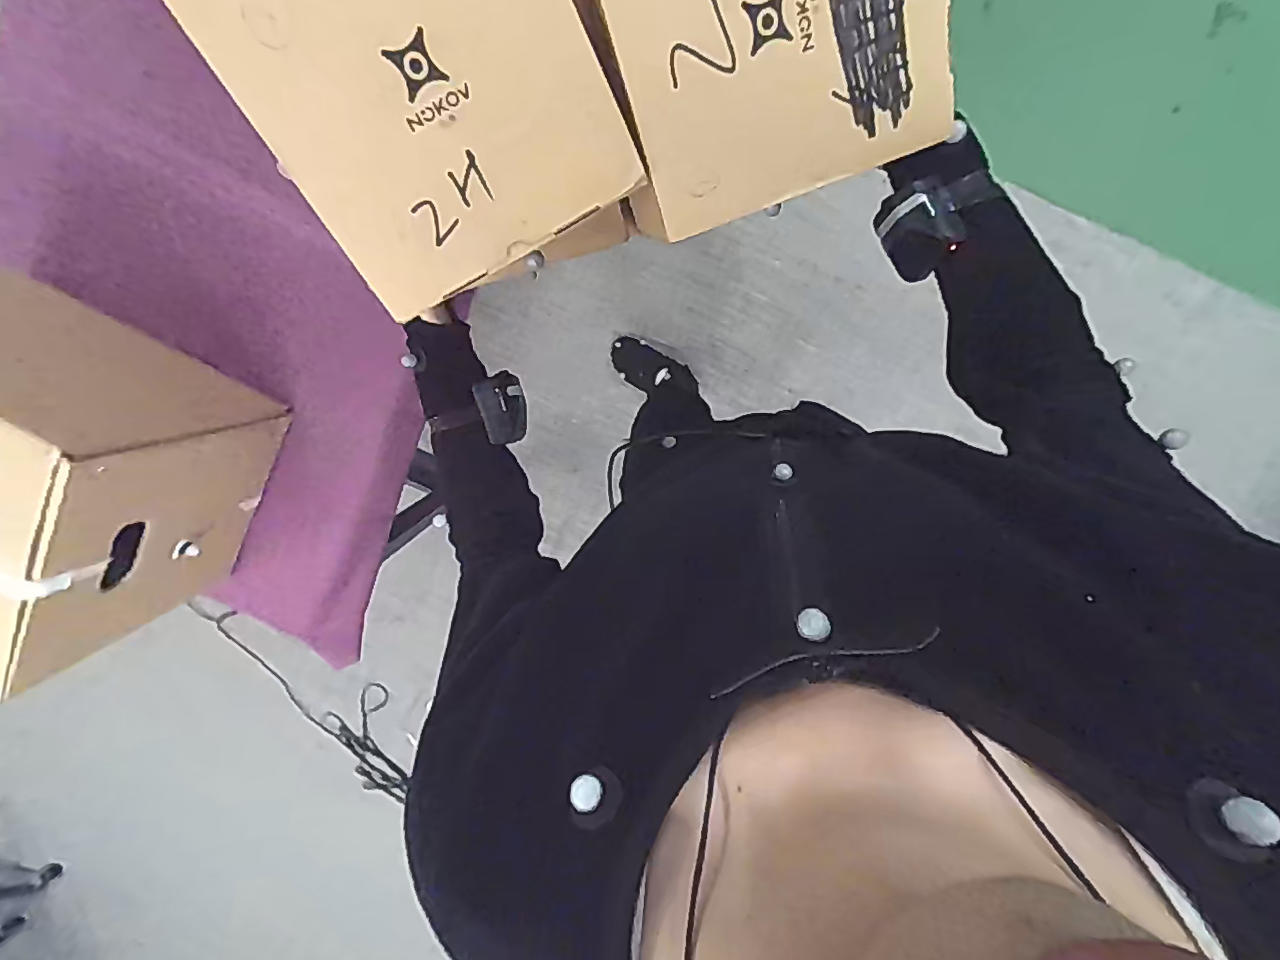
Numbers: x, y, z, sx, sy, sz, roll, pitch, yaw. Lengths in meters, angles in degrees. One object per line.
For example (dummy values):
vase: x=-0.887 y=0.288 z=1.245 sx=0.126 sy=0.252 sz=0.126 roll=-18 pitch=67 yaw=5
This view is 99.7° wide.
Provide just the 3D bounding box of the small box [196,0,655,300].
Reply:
small box: x=-0.110 y=-0.234 z=0.331 sx=0.168 sy=0.176 sz=0.179 roll=-27 pitch=116 yaw=5
